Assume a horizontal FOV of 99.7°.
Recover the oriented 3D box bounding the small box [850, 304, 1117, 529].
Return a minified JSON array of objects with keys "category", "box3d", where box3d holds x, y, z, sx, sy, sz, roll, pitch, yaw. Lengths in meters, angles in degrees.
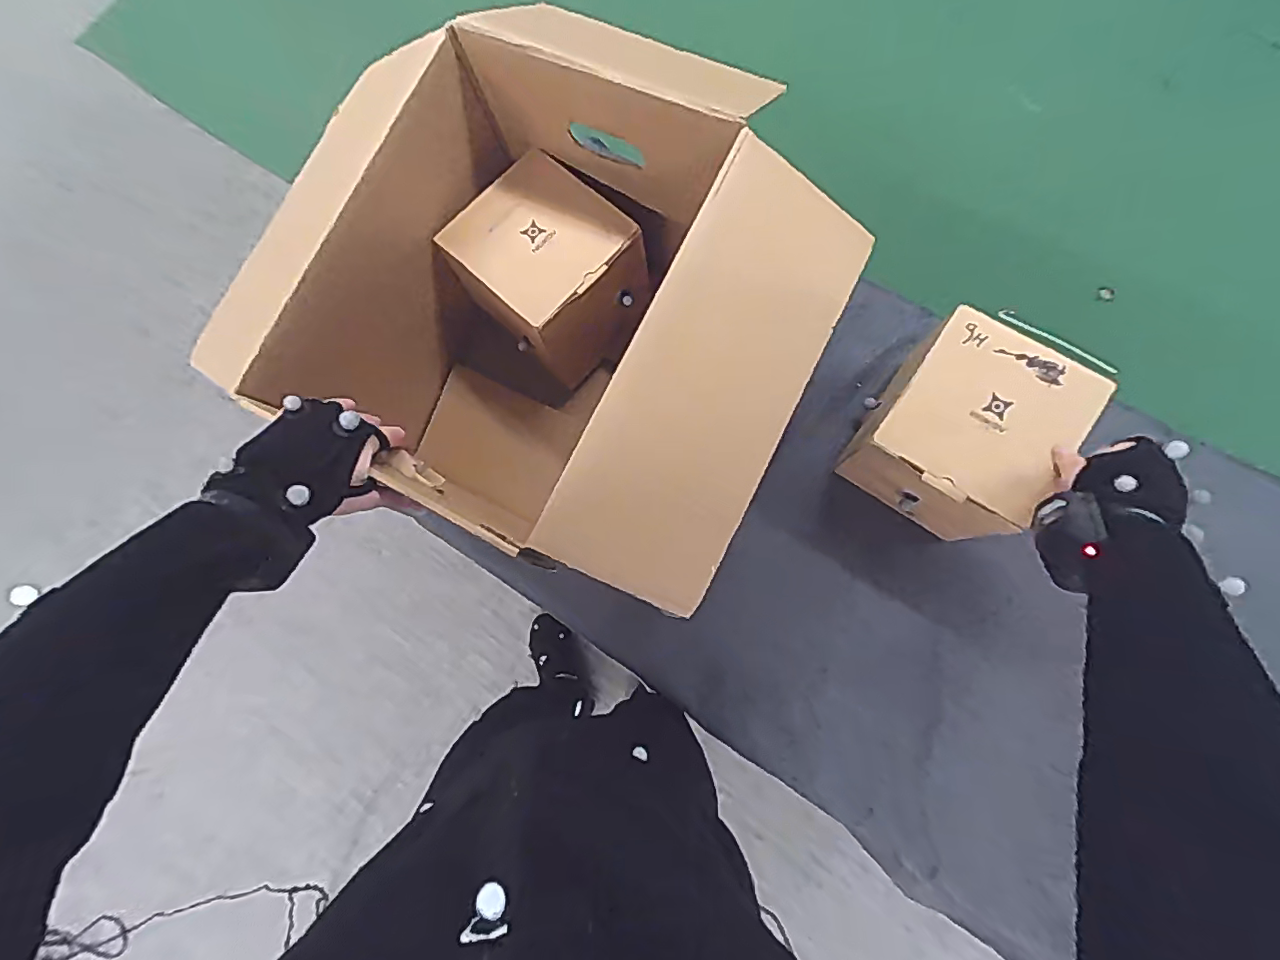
[{"category":"small box","box3d":[0.364,-0.057,0.617,0.168,0.176,0.179,34,88,10]}]
